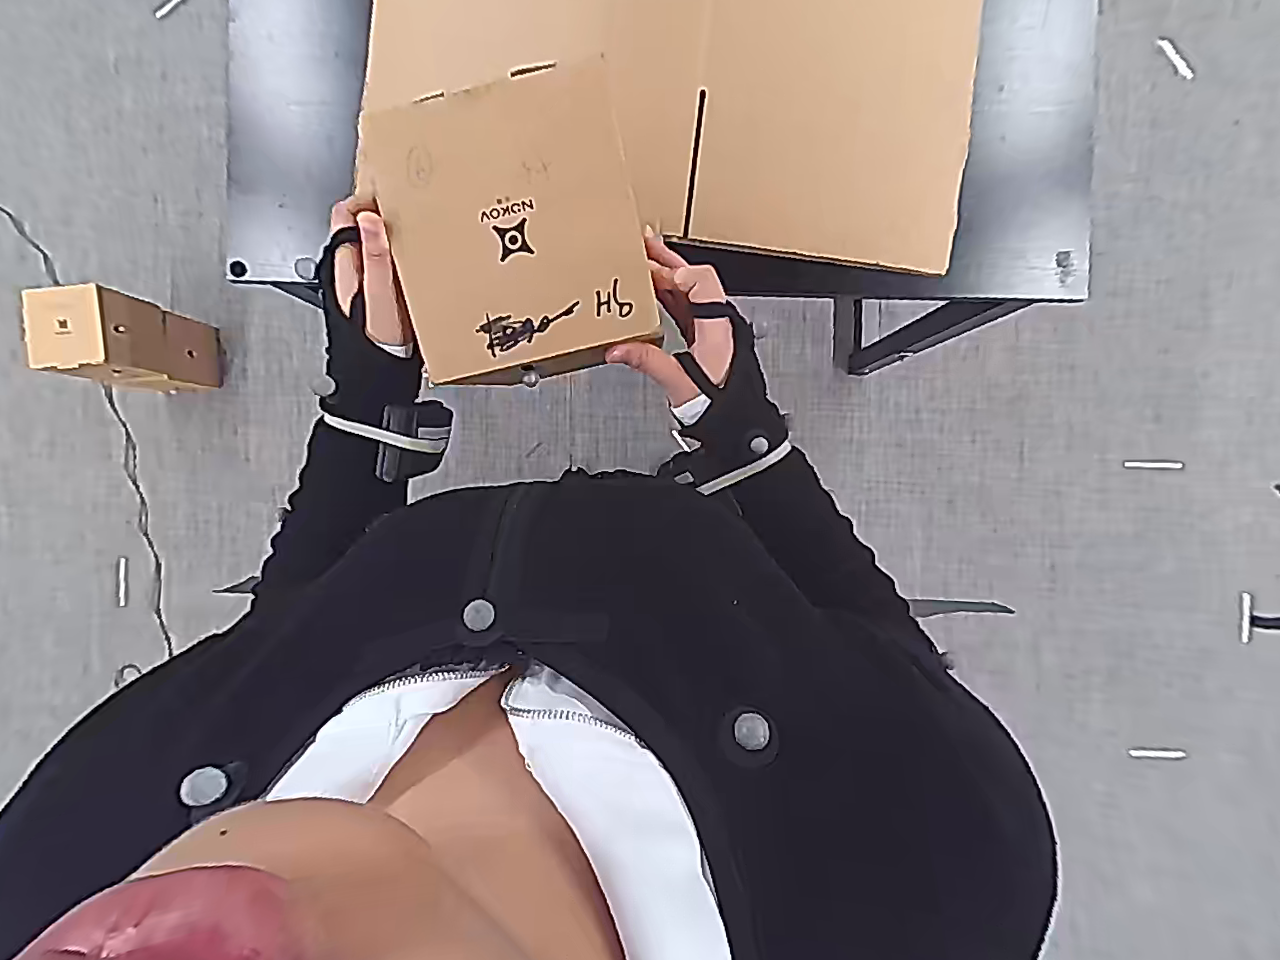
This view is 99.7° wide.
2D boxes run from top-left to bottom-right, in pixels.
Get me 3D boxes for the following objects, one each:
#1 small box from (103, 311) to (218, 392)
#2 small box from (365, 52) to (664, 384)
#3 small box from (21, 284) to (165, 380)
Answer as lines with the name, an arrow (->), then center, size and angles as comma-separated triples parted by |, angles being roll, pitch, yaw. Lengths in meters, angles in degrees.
small box -> -1.249, -0.330, 1.414 | 0.168, 0.176, 0.179 | -2, 92, 1
small box -> -0.077, -0.179, 0.431 | 0.168, 0.176, 0.179 | -12, 98, 5
small box -> -1.252, -0.333, 1.252 | 0.168, 0.176, 0.179 | -6, 90, 0
